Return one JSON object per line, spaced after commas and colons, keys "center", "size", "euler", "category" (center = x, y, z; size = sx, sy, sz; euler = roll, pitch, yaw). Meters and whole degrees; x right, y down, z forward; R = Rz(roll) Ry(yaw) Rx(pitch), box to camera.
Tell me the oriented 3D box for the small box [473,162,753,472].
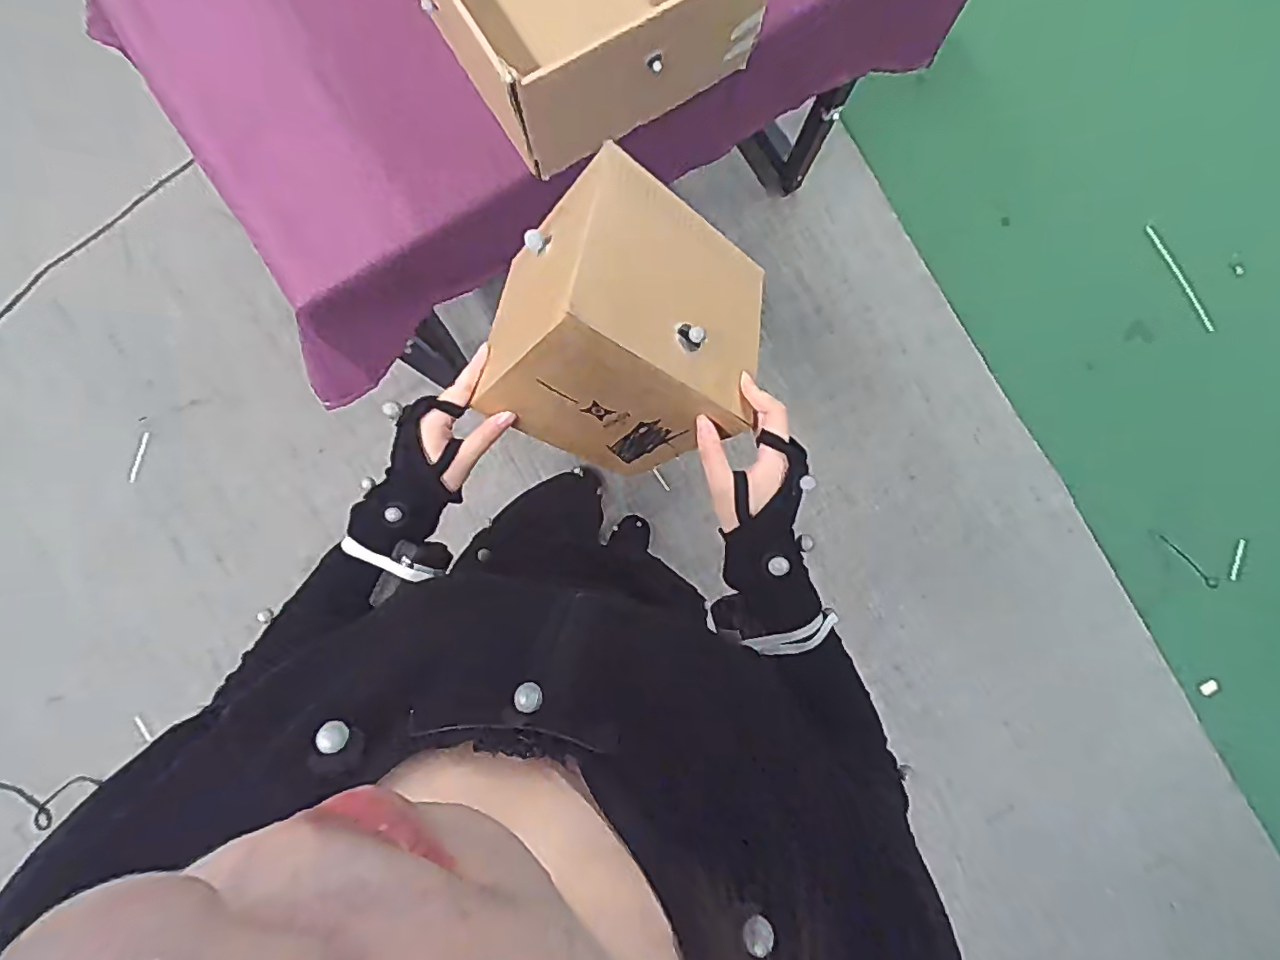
{"center": [-0.017, -0.130, 0.481], "size": [0.179, 0.168, 0.176], "euler": [25, 62, -30], "category": "small box"}
